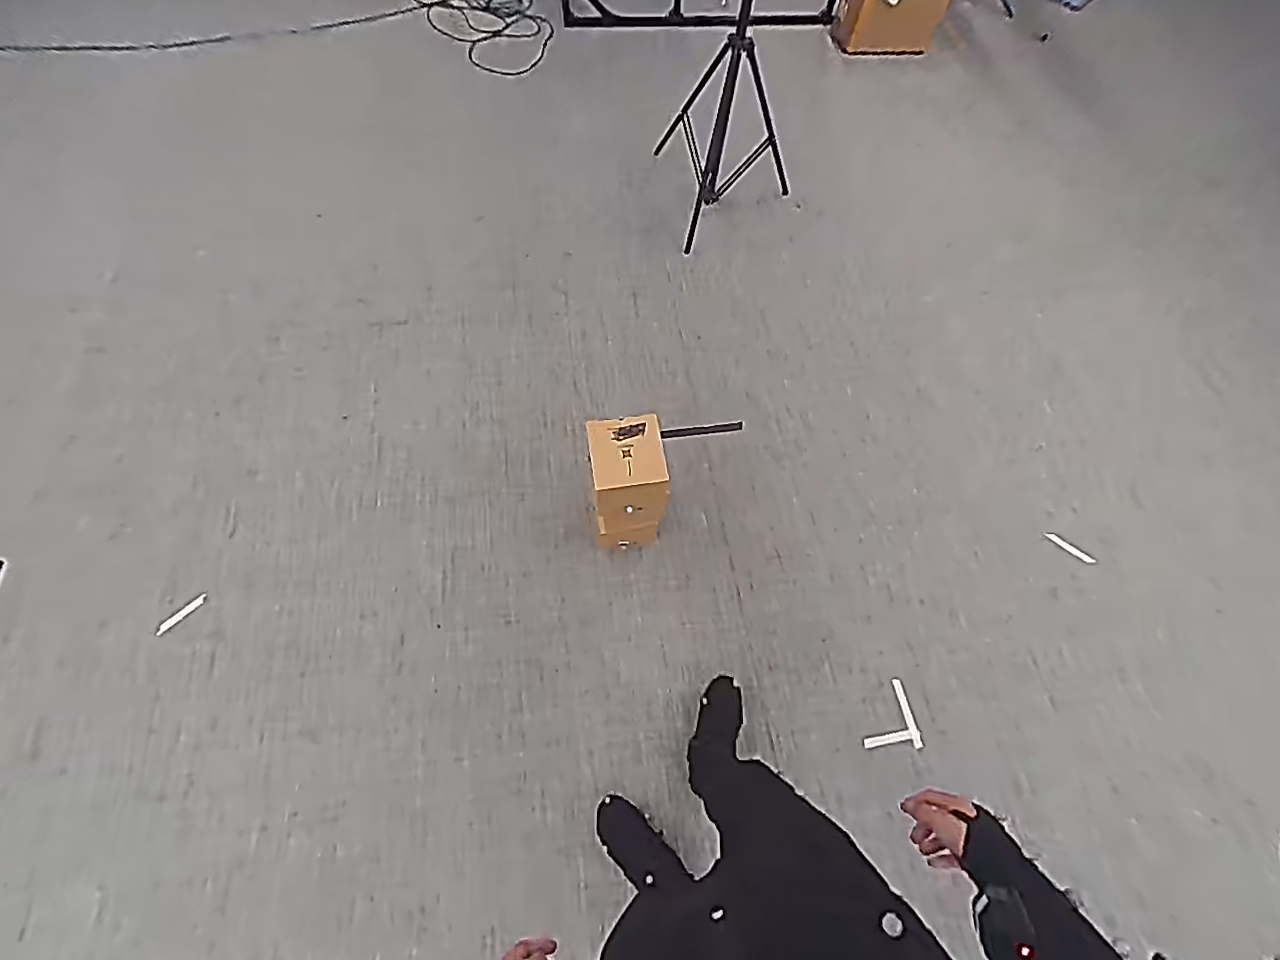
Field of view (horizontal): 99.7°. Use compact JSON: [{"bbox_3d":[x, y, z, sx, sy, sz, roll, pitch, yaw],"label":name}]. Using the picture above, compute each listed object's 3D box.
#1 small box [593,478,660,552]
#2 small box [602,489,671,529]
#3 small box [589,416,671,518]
[{"bbox_3d":[-0.043,0.092,1.577,0.168,0.176,0.179,-10,66,-7],"label":"small box"},{"bbox_3d":[-0.024,0.018,1.432,0.179,0.176,0.168,-11,66,-7],"label":"small box"},{"bbox_3d":[-0.028,-0.028,1.272,0.168,0.176,0.179,-8,66,-5],"label":"small box"}]
